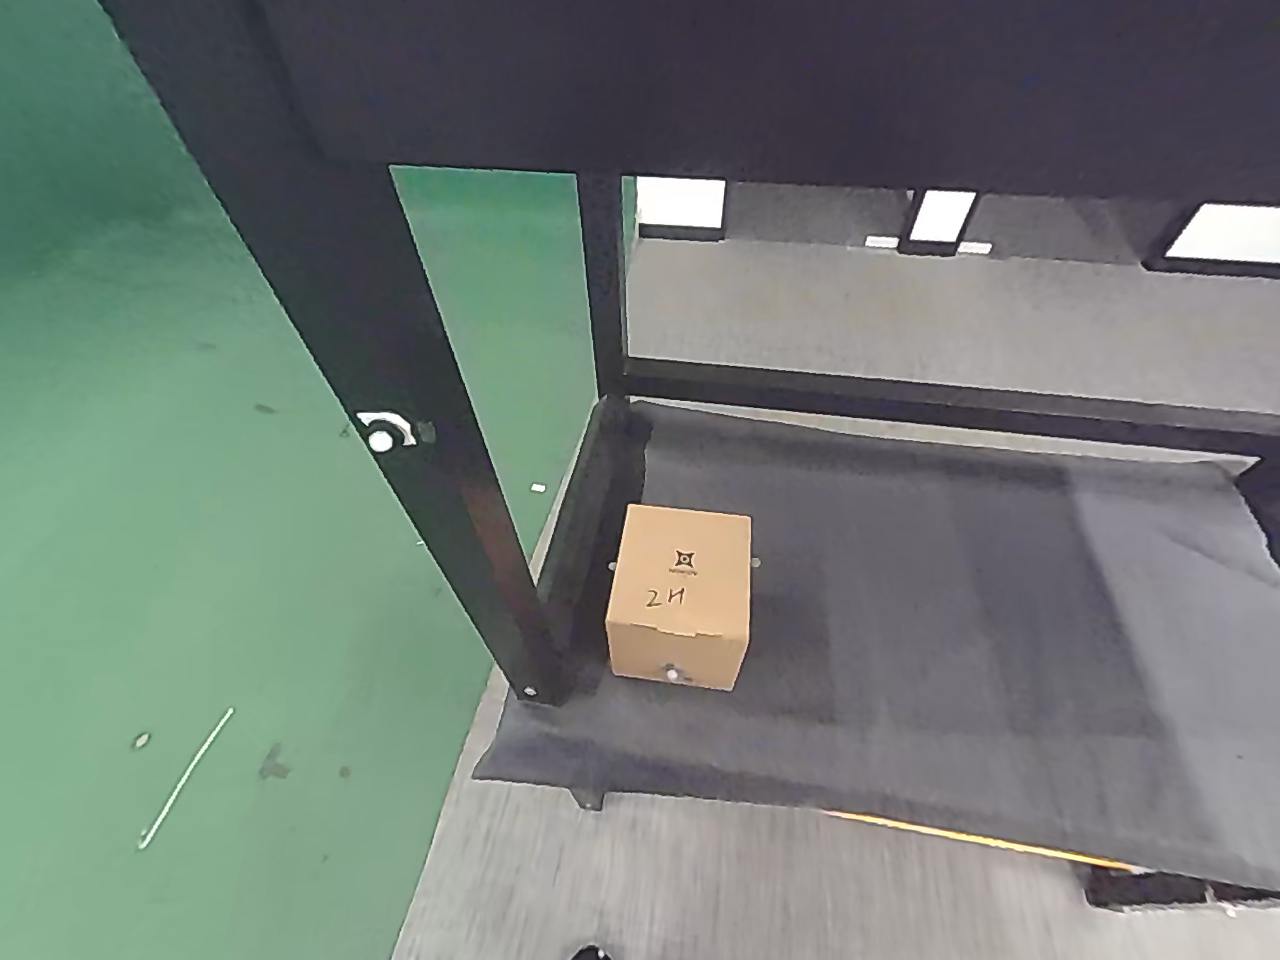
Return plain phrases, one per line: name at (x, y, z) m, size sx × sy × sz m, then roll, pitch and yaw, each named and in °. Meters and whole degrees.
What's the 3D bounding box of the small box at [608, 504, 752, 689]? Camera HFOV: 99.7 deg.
small box at (0.055, 0.158, 0.730) m, size 0.168 × 0.176 × 0.179 m, roll 5°, pitch 50°, yaw 6°
